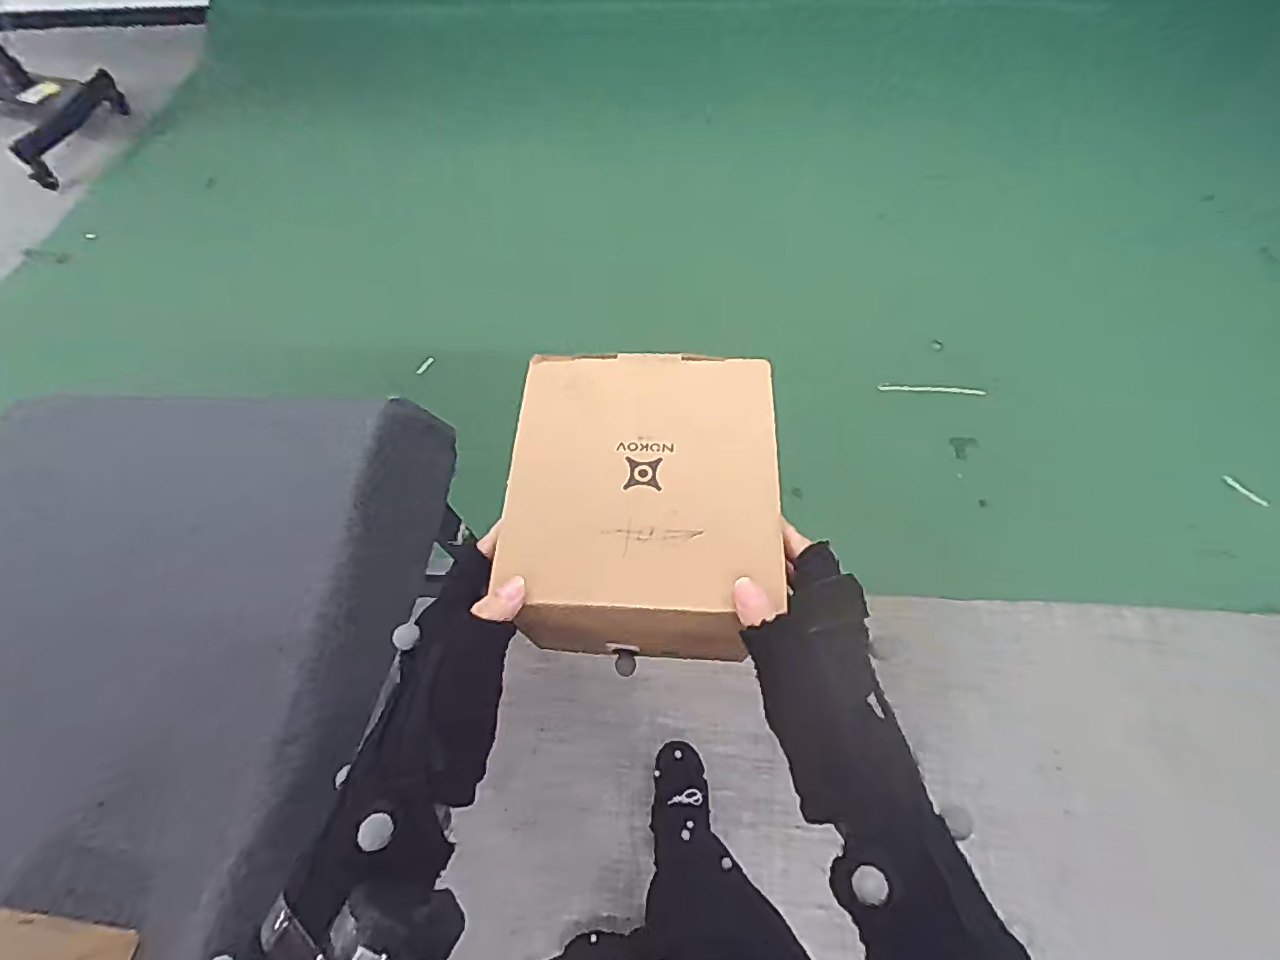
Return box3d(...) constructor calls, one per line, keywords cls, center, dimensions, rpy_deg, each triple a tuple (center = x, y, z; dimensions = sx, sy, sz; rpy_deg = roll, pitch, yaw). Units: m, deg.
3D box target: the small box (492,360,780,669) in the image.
box3d(cls="small box", center=(0.005, 0.034, 0.410), dimensions=(0.168, 0.176, 0.179), rpy_deg=(3, 63, 4))
